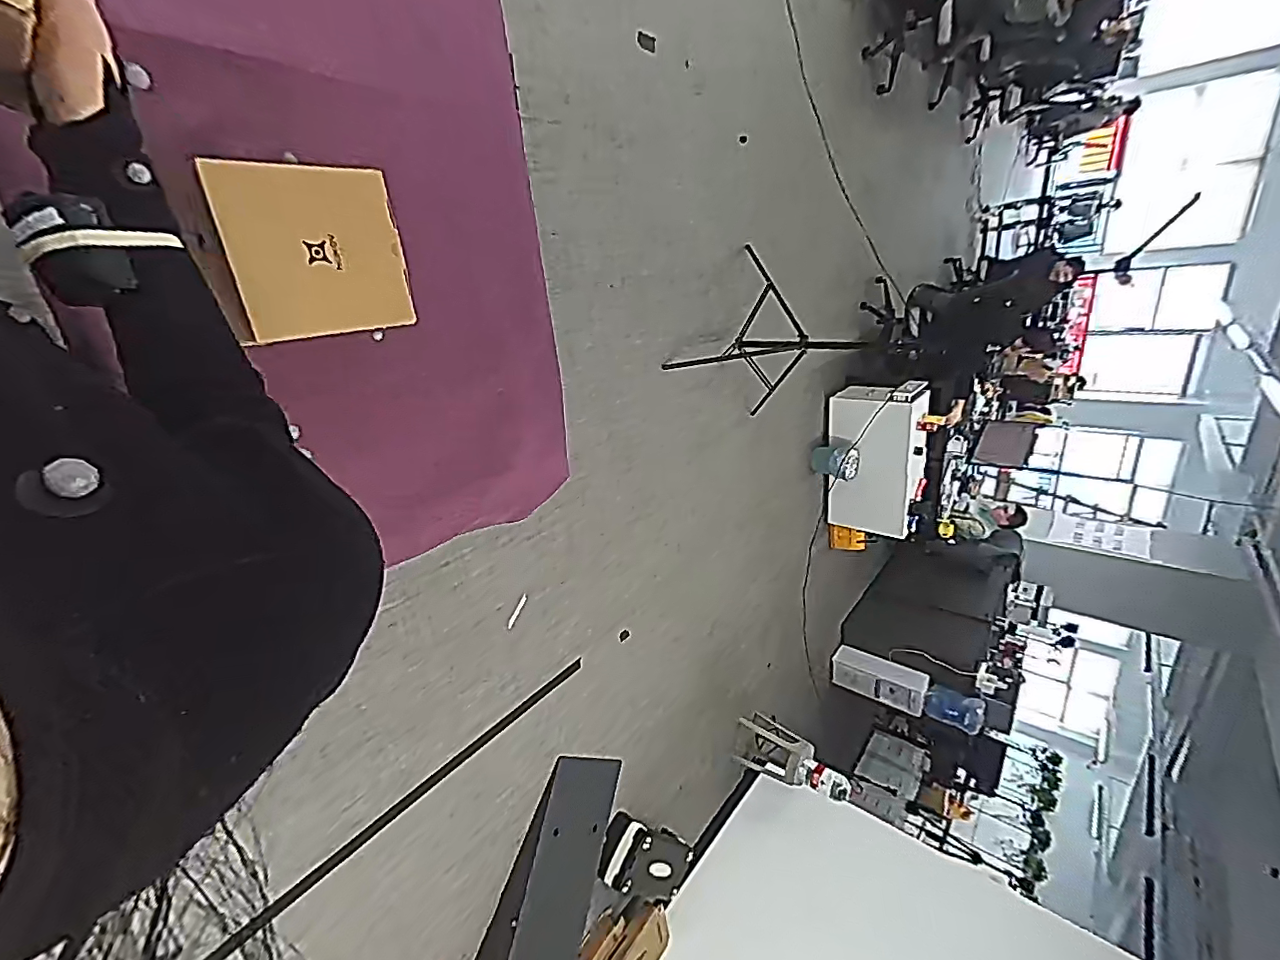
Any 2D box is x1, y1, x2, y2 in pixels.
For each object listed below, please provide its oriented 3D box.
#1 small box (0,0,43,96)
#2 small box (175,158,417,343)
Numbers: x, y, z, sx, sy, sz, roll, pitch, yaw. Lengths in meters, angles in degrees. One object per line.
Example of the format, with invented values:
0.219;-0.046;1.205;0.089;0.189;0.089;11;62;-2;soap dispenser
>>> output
-0.411;-0.335;0.263;0.168;0.176;0.179;4;97;-51;small box
-0.395;-0.253;0.623;0.179;0.176;0.168;-28;120;-44;small box
